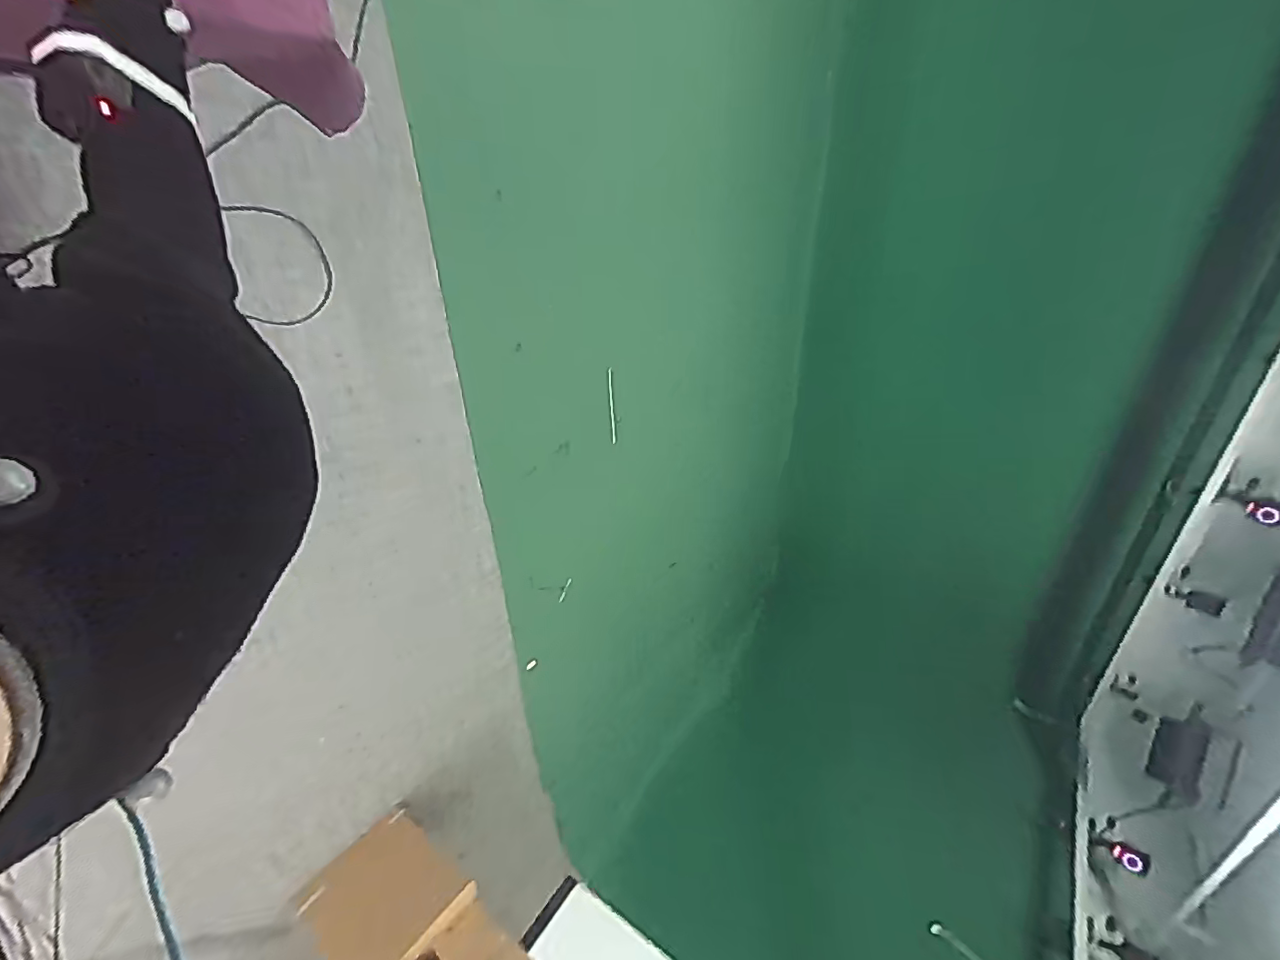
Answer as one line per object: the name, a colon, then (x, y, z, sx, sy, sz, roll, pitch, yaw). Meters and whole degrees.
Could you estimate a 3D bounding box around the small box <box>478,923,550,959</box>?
small box: (-0.404, 1.571, 1.708, 0.168, 0.176, 0.179, -21, 122, -50)
